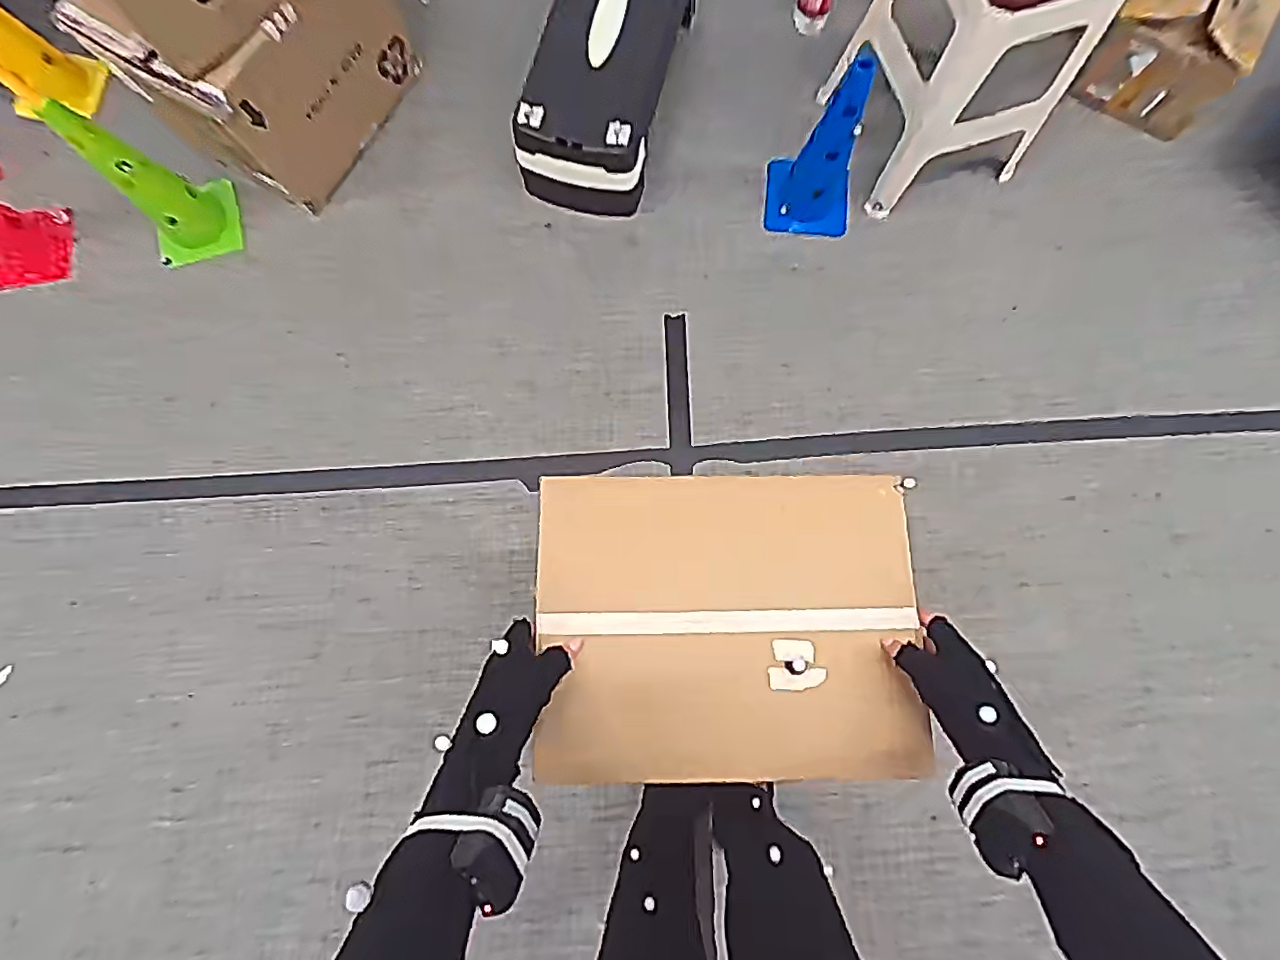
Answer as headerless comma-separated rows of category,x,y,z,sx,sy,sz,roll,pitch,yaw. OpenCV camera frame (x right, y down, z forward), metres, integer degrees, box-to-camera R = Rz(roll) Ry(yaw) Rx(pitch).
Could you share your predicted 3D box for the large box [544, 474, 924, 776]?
large box,0.090,0.181,0.733,0.408,0.320,0.320,-1,78,-2
